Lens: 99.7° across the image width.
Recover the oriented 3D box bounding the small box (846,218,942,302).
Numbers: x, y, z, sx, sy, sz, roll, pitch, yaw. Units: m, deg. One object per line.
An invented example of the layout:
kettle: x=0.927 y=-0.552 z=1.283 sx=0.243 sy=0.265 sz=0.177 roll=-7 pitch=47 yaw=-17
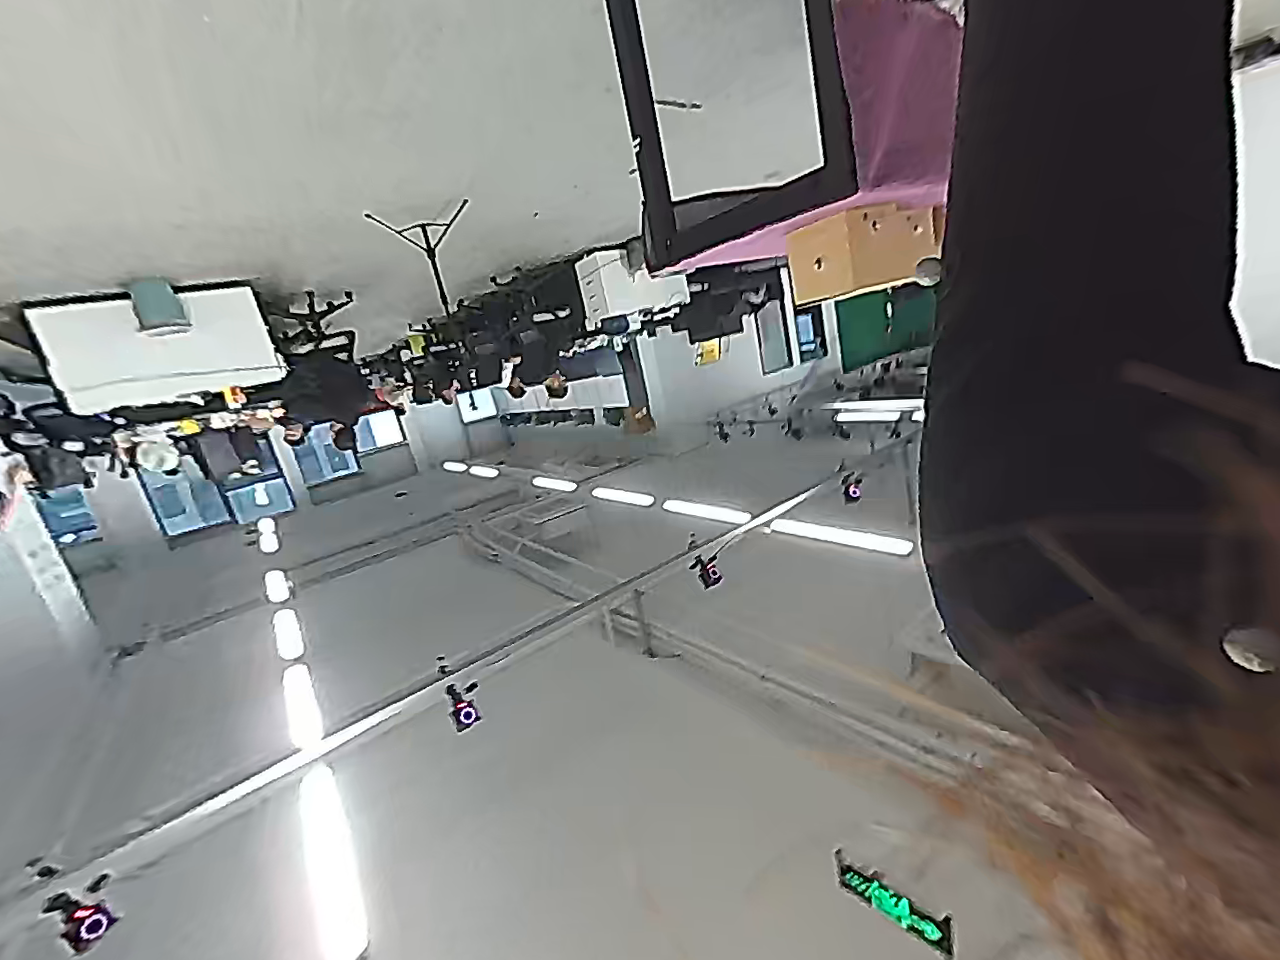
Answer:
small box: x=0.669 y=-0.582 z=1.434 sx=0.168 sy=0.176 sz=0.179 roll=-19 pitch=-166 yaw=-28
